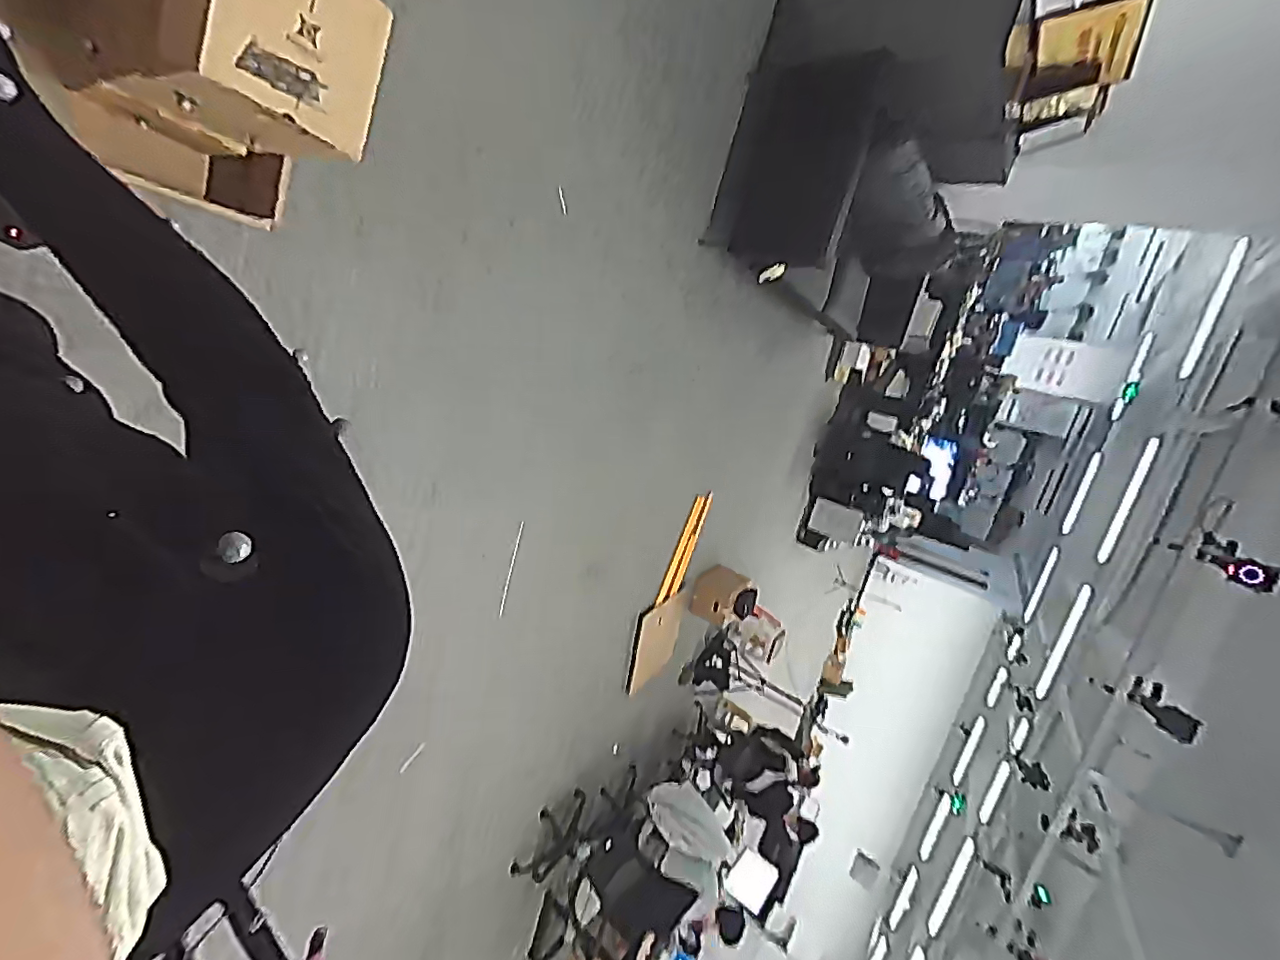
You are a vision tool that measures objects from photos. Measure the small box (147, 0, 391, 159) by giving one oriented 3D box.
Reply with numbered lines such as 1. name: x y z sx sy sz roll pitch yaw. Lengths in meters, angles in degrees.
1. small box: -0.424 -0.499 0.618 0.168 0.176 0.179 6 103 -59
